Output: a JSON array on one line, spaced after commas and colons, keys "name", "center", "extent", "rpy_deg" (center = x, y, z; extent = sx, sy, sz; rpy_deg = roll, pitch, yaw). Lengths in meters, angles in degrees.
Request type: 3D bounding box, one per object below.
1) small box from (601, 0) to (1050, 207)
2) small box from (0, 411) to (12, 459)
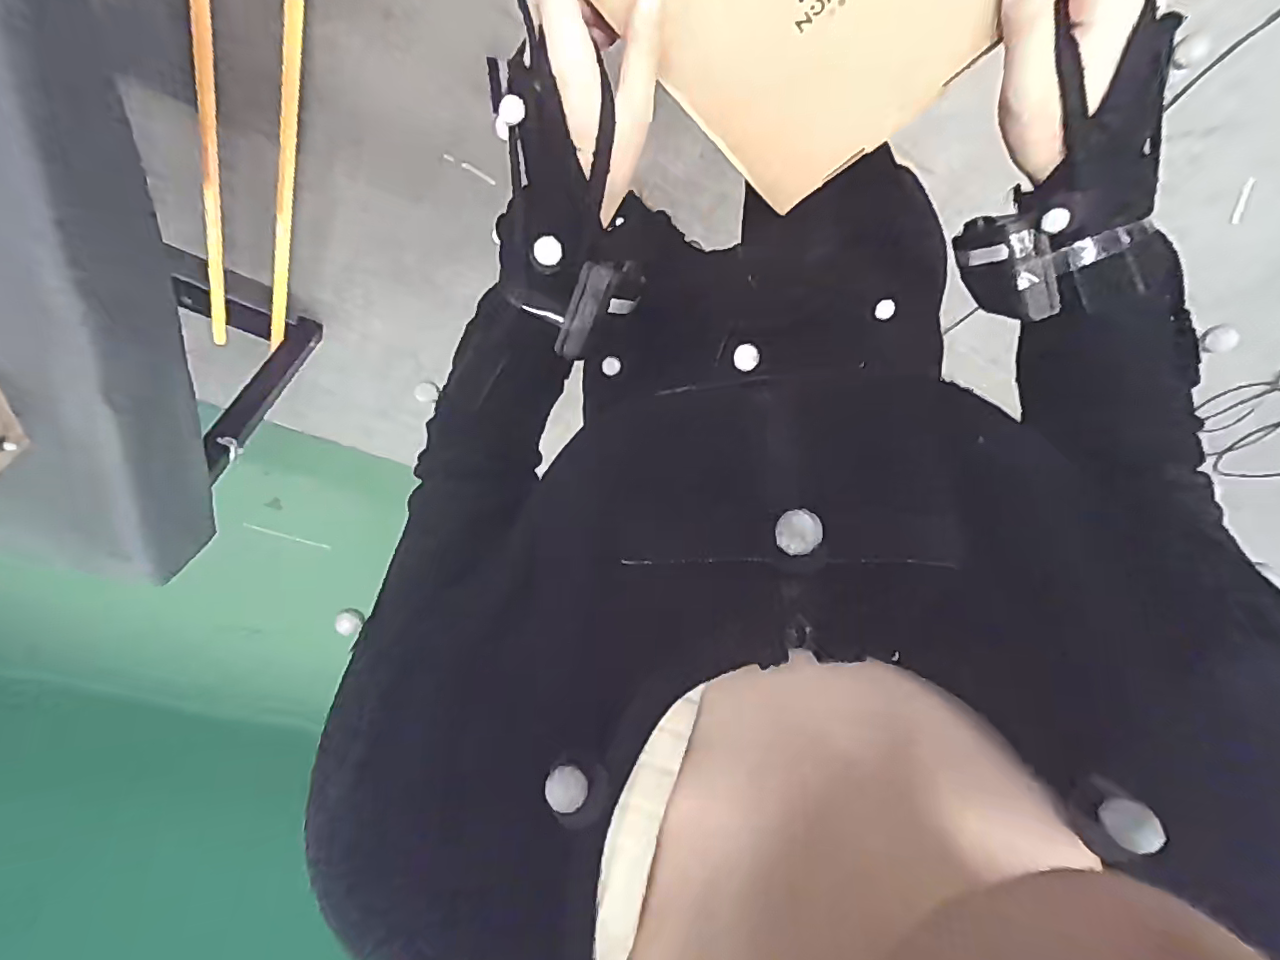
[{"name": "small box", "center": [0.093, -0.308, 0.301], "extent": [0.179, 0.176, 0.168], "rpy_deg": [31, 139, -31]}, {"name": "small box", "center": [-0.810, -0.058, 0.541], "extent": [0.179, 0.176, 0.168], "rpy_deg": [19, 135, -15]}]
